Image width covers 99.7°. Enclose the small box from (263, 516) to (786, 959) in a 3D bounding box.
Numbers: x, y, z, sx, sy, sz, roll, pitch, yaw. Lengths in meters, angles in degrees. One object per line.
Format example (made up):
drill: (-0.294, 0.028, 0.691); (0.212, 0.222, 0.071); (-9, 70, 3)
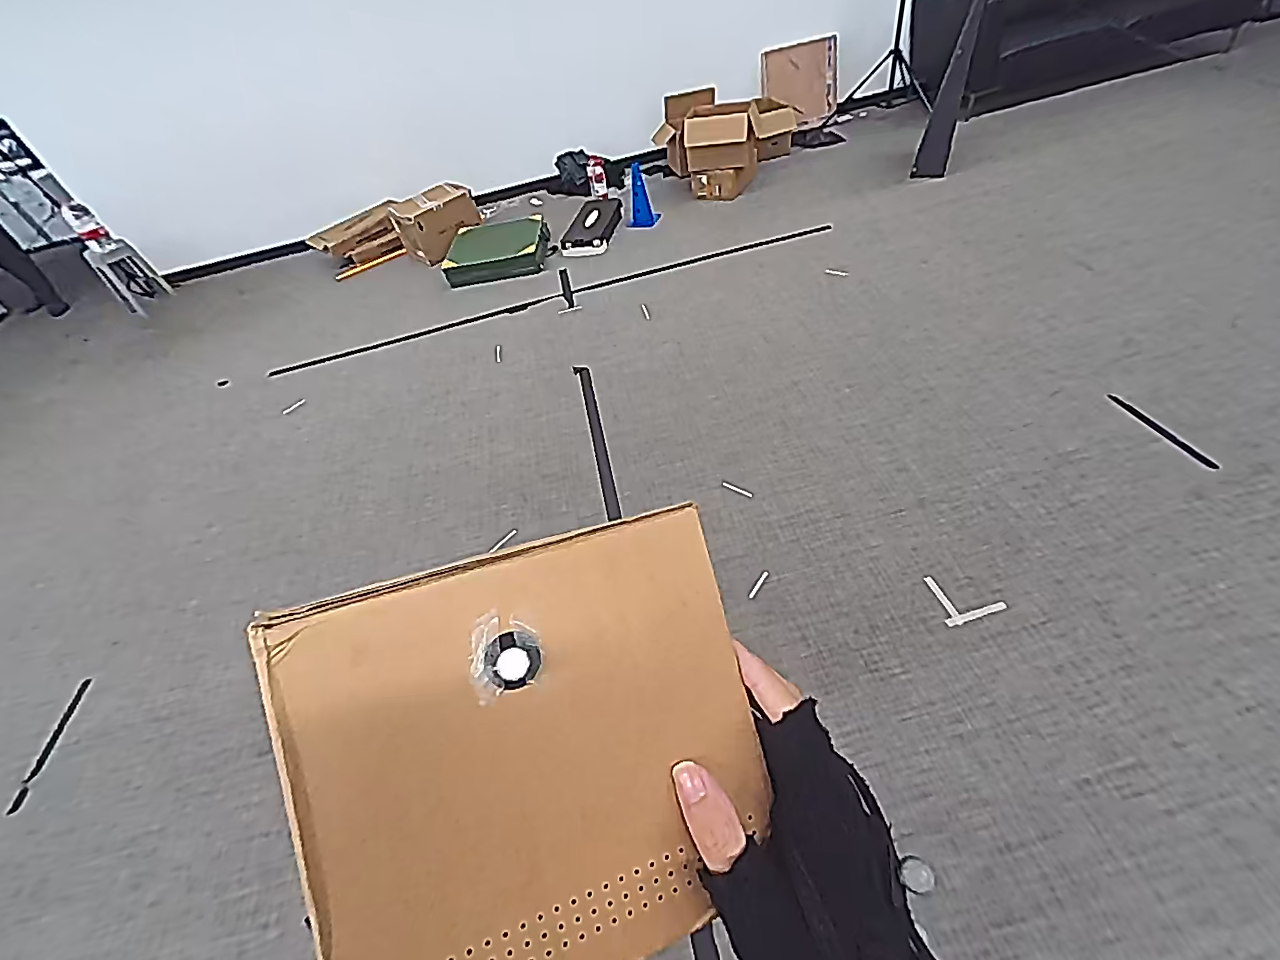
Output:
small box: (-0.053, 0.126, 0.284); (0.179, 0.168, 0.176); (-14, 87, -17)
